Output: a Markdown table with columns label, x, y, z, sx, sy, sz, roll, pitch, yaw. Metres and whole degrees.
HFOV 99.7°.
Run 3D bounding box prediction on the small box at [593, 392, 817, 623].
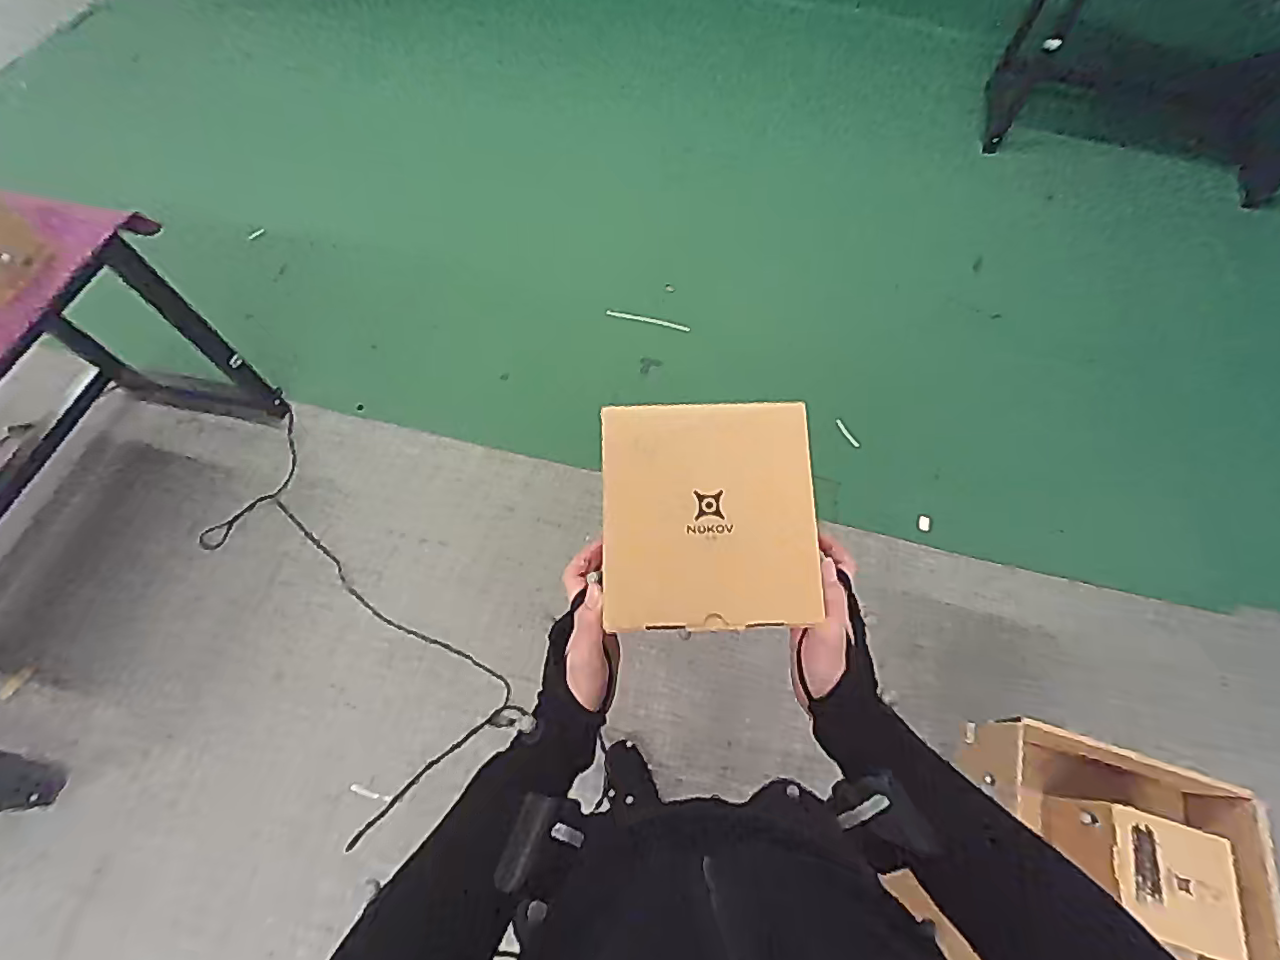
| label | x | y | z | sx | sy | sz | roll | pitch | yaw |
| --- | --- | --- | --- | --- | --- | --- | --- | --- | --- |
| small box | 0.043 | 0.034 | 0.485 | 0.168 | 0.176 | 0.179 | -2 | 78 | -1 |

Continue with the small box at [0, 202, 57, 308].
| label | x | y | z | sx | sy | sz | roll | pitch | yaw |
| --- | --- | --- | --- | --- | --- | --- | --- | --- | --- |
| small box | -1.285 | -0.444 | 1.007 | 0.179 | 0.176 | 0.168 | 11 | 66 | 4 |
